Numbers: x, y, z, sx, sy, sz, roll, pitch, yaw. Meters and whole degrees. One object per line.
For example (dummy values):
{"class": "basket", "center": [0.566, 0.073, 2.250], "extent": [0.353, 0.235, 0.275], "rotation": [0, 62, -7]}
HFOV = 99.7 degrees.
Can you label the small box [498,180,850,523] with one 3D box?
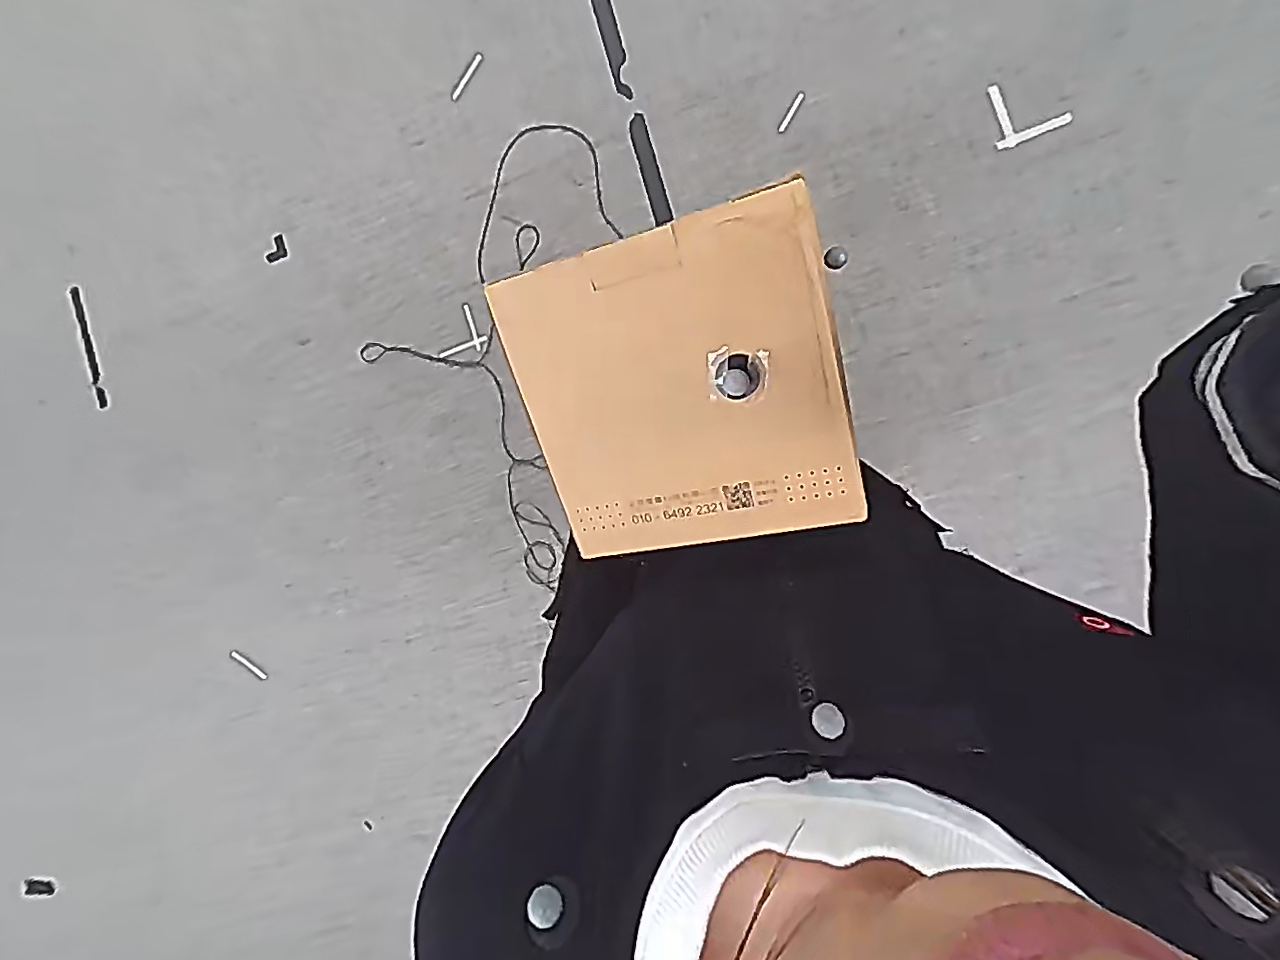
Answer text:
{"class": "small box", "center": [0.041, -0.079, 0.368], "extent": [0.168, 0.179, 0.176], "rotation": [-10, 111, 21]}
